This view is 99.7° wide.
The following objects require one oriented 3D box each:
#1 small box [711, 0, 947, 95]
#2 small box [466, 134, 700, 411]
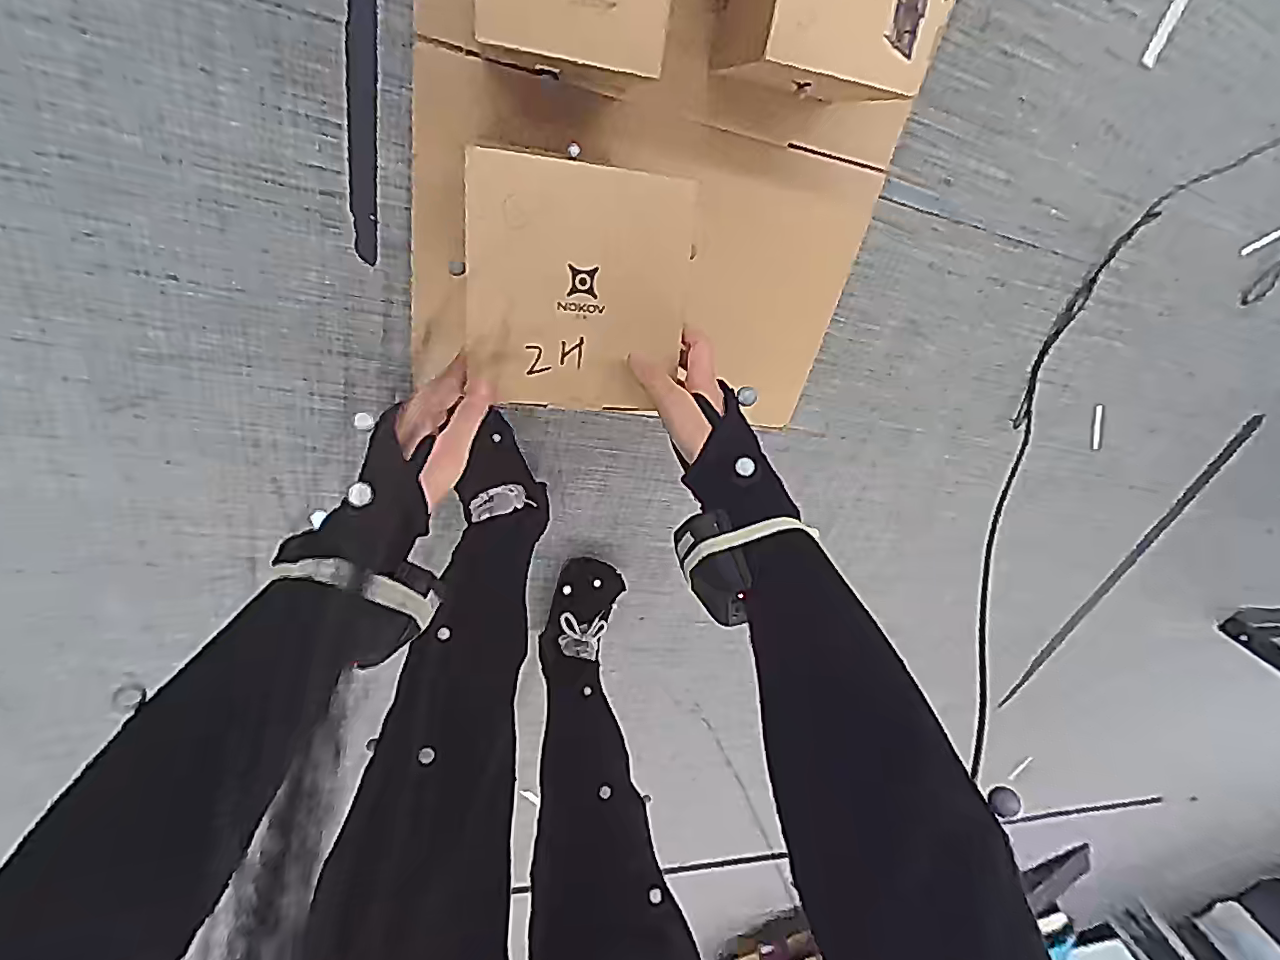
[{"bbox_3d":[0.193,-0.507,0.549,0.179,0.176,0.168,1,122,-15],"label":"small box"},{"bbox_3d":[-0.061,-0.164,0.472,0.168,0.176,0.179,2,106,-14],"label":"small box"}]
